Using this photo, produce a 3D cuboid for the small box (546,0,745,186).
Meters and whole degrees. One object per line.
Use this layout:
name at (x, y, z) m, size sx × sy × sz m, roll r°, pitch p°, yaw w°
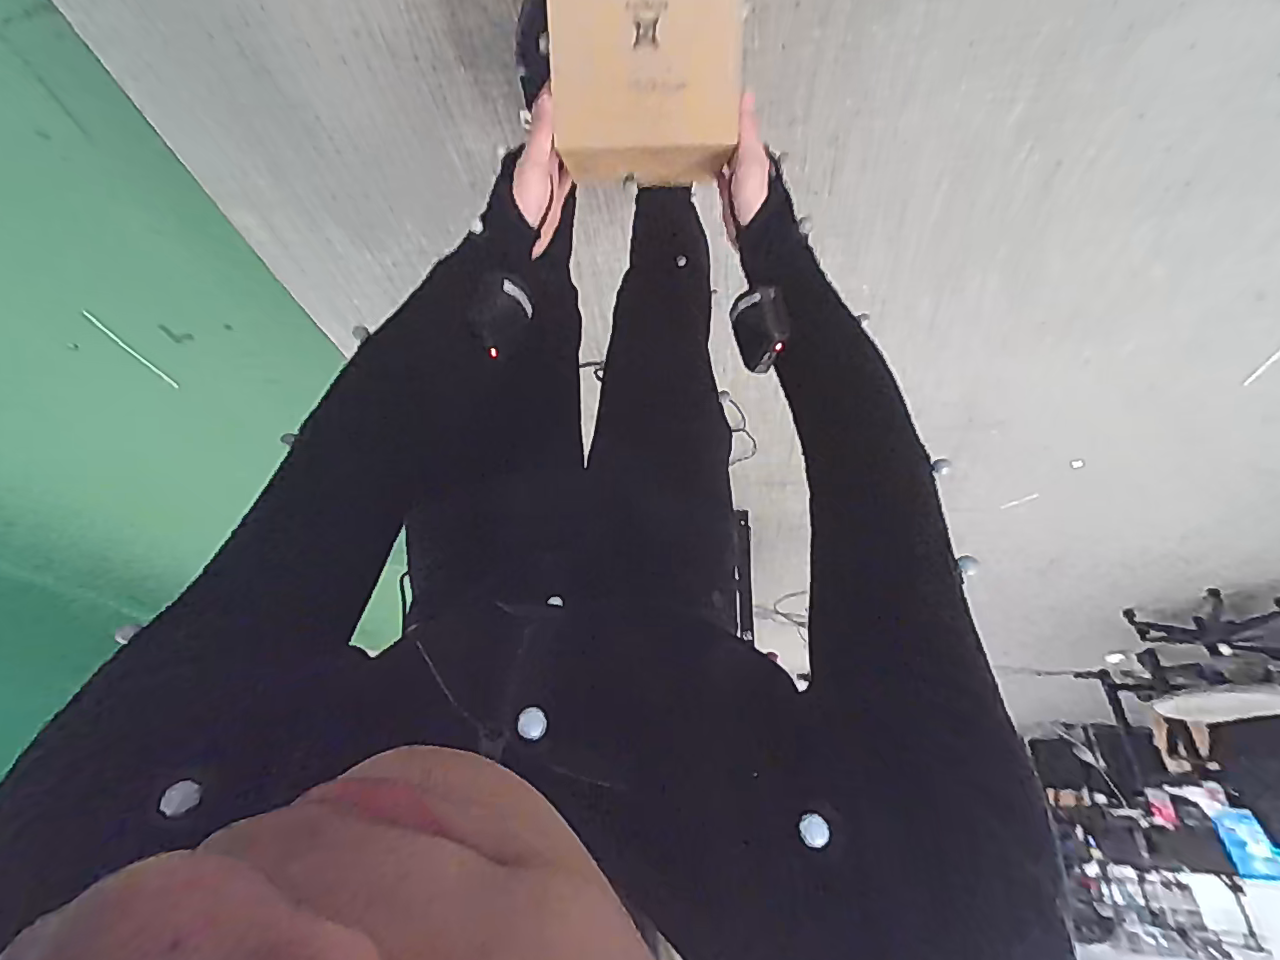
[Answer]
small box at (0.003, -0.401, 0.521) m, size 0.168 × 0.176 × 0.179 m, roll 0°, pitch 108°, yaw 0°
